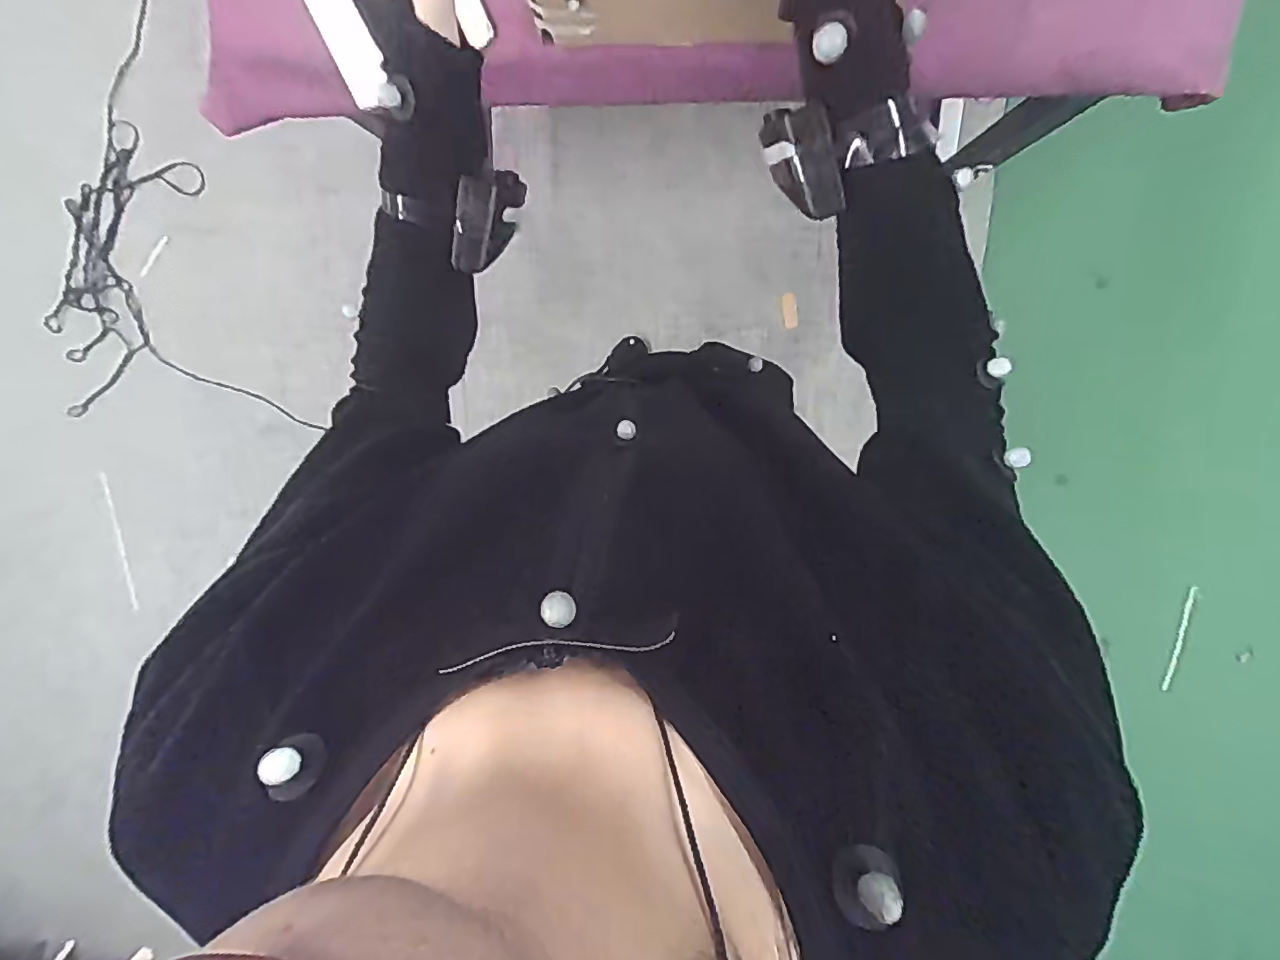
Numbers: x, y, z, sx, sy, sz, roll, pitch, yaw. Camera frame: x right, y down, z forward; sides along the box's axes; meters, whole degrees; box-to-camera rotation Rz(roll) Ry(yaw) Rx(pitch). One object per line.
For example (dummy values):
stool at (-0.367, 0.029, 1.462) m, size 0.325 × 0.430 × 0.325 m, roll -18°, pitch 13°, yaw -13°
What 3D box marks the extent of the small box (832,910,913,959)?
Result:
small box at (0.585, 1.220, 1.353) m, size 0.168 × 0.176 × 0.179 m, roll -6°, pitch 102°, yaw 7°
